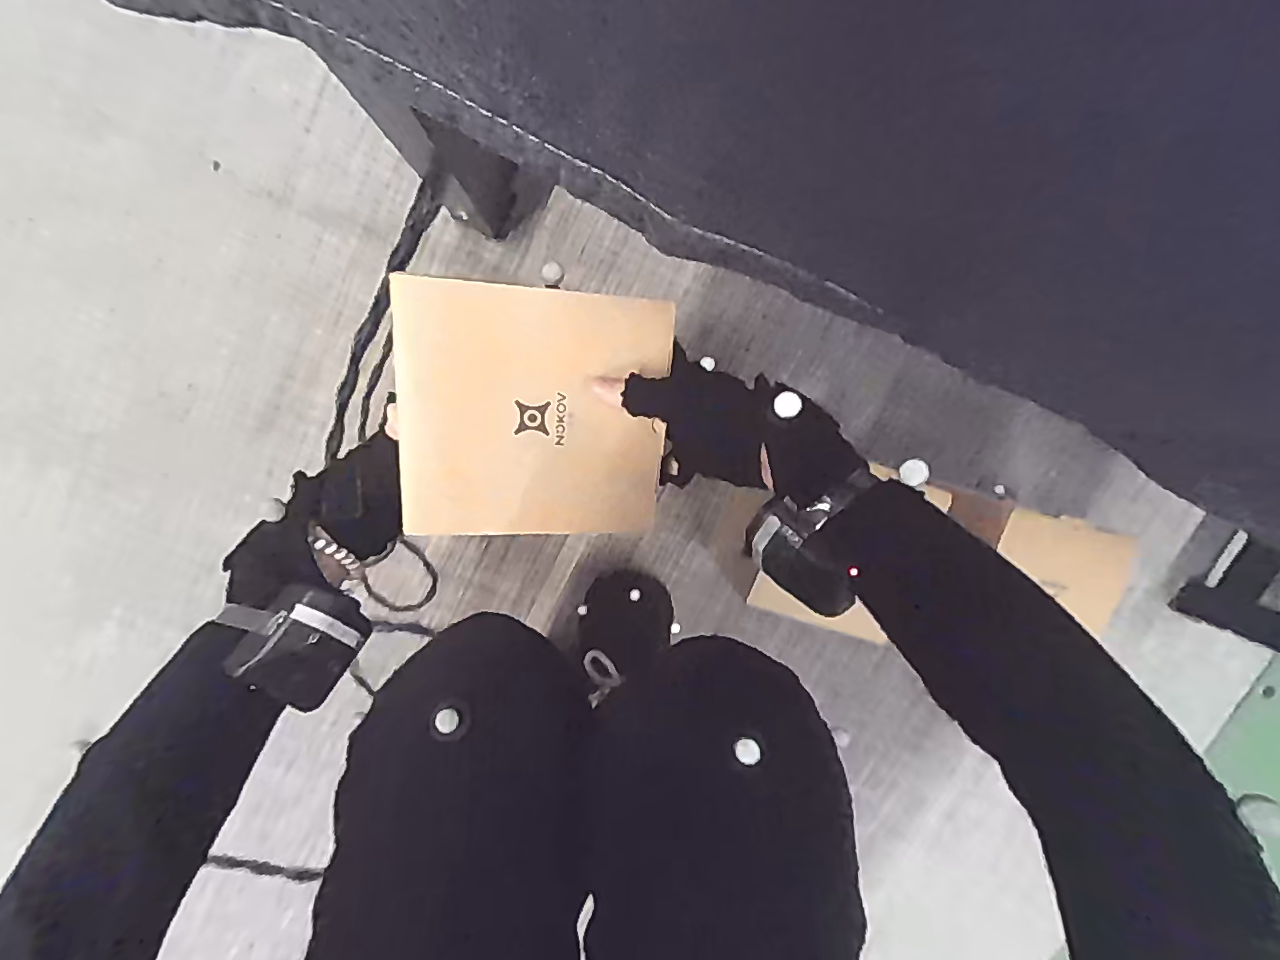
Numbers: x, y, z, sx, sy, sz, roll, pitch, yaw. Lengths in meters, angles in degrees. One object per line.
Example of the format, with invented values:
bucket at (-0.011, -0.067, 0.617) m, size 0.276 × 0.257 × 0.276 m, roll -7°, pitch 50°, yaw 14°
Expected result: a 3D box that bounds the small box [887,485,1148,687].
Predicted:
small box at (0.432, 0.115, 0.650) m, size 0.168 × 0.176 × 0.179 m, roll 13°, pitch 99°, yaw -10°
